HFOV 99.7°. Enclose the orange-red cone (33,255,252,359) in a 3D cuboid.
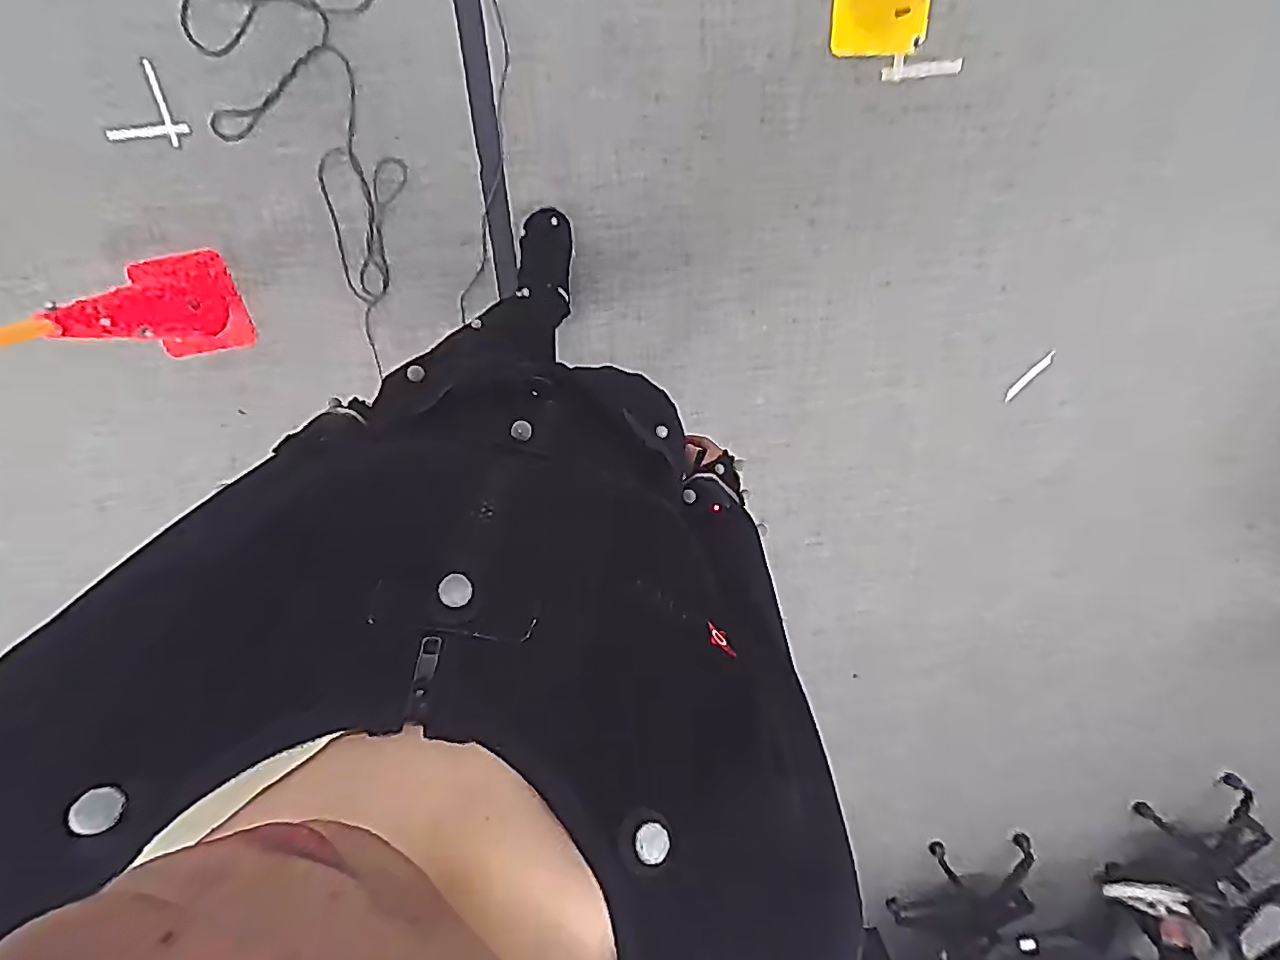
[{"bbox_3d":[-0.943,-0.301,1.001,0.199,0.360,0.198,-11,114,-3],"label":"orange-red cone"}]
